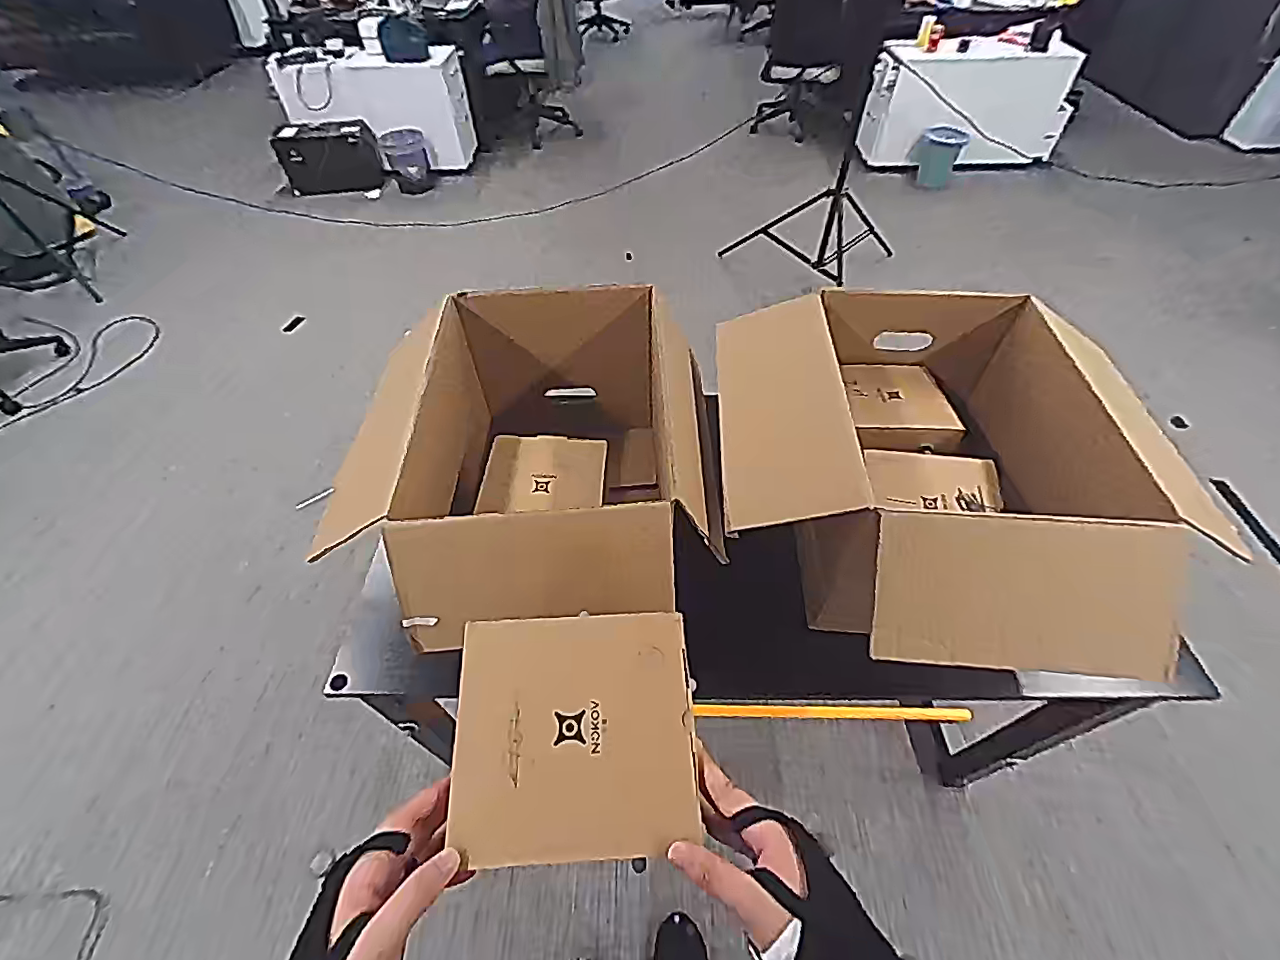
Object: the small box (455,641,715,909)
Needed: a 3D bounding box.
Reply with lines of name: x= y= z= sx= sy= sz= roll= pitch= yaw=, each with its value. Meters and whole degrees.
small box: x=-0.043 y=0.246 z=0.467 sx=0.179 sy=0.176 sz=0.168 roll=-4 pitch=59 yaw=-3
